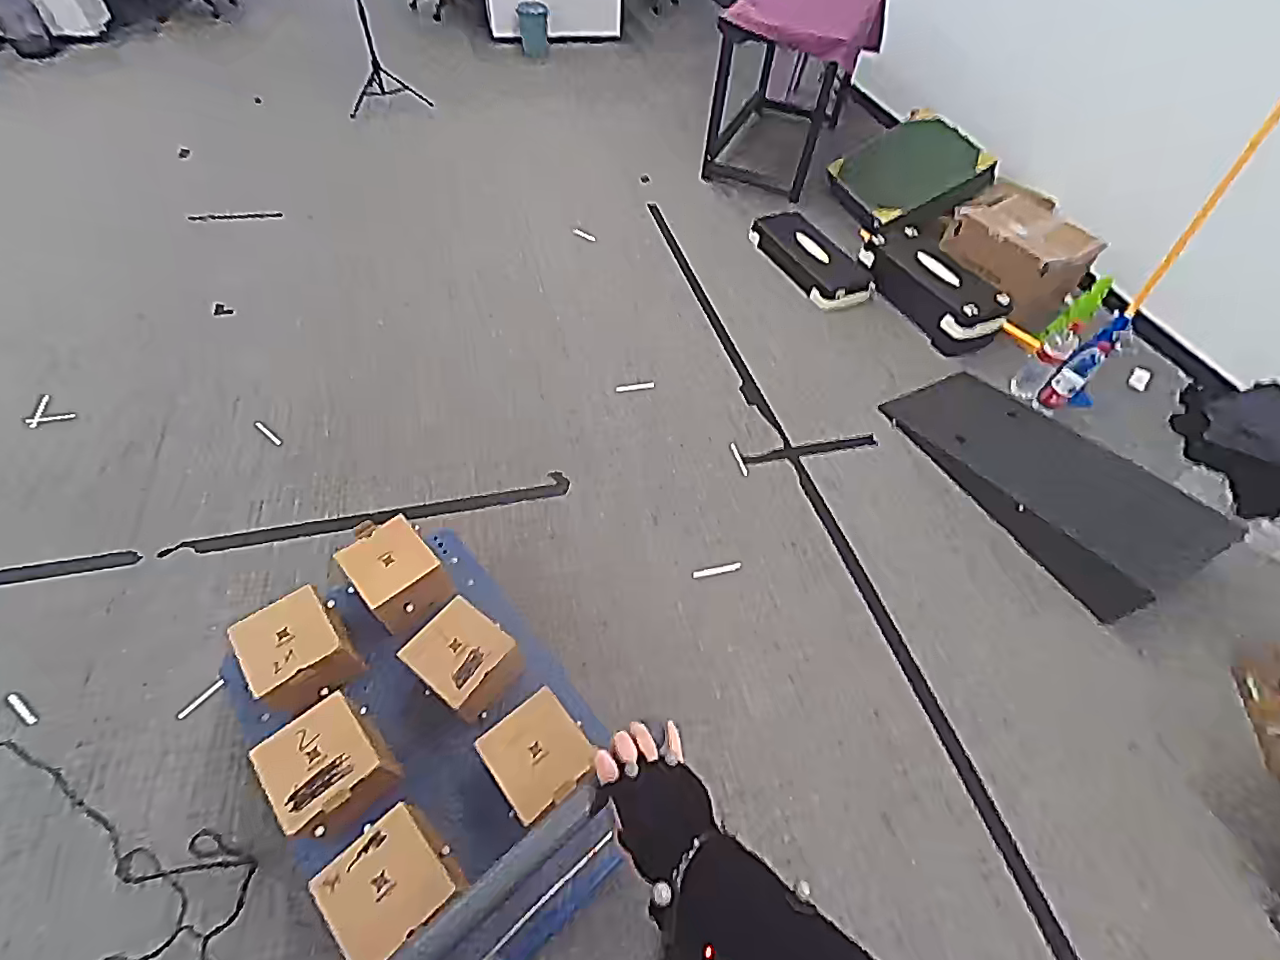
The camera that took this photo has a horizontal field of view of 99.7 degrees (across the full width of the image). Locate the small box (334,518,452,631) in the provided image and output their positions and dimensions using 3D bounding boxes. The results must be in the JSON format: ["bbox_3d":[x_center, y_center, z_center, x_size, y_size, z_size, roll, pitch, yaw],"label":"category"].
[{"bbox_3d":[-0.565,0.229,1.260,0.168,0.176,0.179,-37,65,-27],"label":"small box"}]

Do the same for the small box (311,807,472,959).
[{"bbox_3d":[-0.412,0.701,0.926,0.179,0.176,0.168,41,59,22],"label":"small box"}]

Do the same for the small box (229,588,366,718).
[{"bbox_3d":[-0.714,0.368,1.142,0.168,0.176,0.179,-32,64,-25],"label":"small box"}]

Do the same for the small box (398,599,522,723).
[{"bbox_3d":[-0.373,0.393,1.156,0.179,0.176,0.168,32,57,18],"label":"small box"}]

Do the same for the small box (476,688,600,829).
[{"bbox_3d":[-0.193,0.549,1.059,0.168,0.176,0.179,-33,62,-26],"label":"small box"}]
